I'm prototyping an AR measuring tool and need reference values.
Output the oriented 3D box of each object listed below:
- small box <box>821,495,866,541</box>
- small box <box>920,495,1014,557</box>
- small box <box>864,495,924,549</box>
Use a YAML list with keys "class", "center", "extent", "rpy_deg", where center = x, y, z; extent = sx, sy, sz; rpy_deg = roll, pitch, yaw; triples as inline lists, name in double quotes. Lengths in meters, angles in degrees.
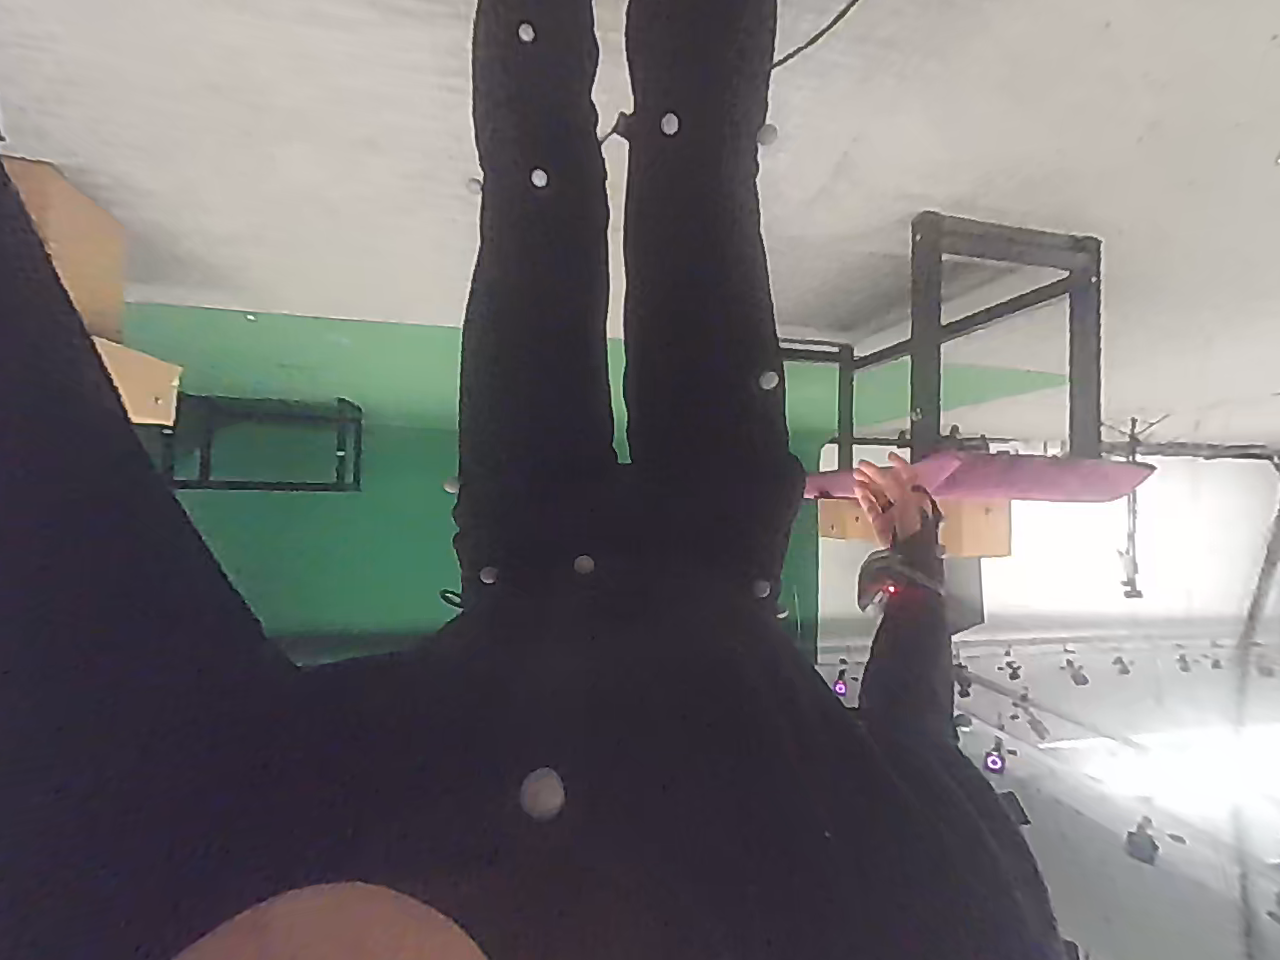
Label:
- class: "small box"
  center: [0.815, 0.145, 2.077]
  extent: [0.168, 0.176, 0.179]
  rpy_deg: [2, 178, -16]
- class: "small box"
  center: [0.943, 0.130, 1.565]
  extent: [0.179, 0.176, 0.168]
  rpy_deg: [2, 178, -14]
- class: "small box"
  center: [0.883, 0.139, 1.827]
  extent: [0.179, 0.176, 0.168]
  rpy_deg: [2, 178, -9]
